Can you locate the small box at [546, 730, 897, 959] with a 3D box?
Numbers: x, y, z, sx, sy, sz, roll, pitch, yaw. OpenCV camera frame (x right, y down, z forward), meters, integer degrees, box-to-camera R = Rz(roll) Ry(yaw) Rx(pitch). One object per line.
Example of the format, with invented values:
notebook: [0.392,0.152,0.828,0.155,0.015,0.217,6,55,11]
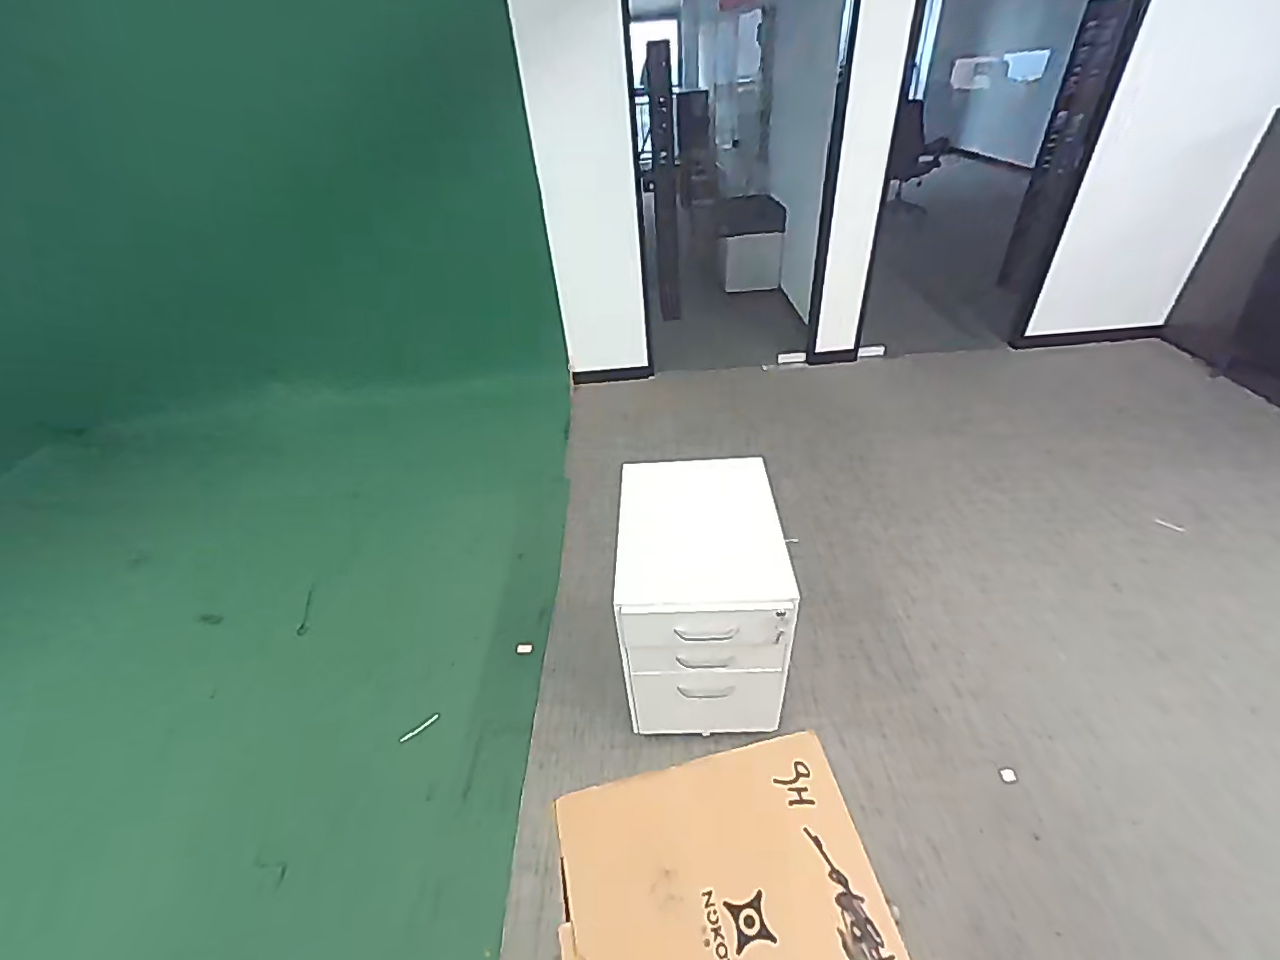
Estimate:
small box: [0.042,0.291,0.357,0.179,0.176,0.168,-9,52,-10]
